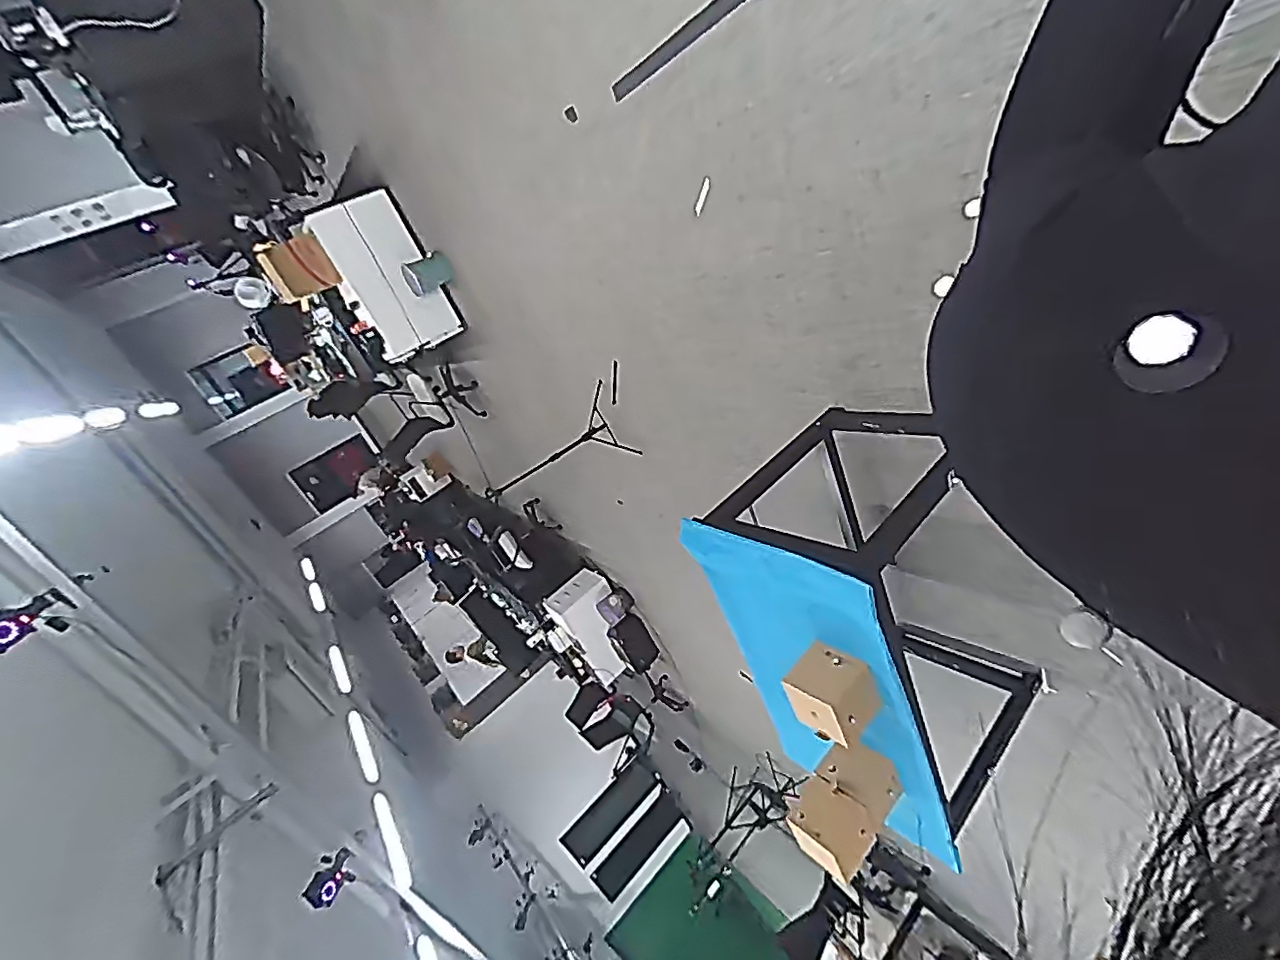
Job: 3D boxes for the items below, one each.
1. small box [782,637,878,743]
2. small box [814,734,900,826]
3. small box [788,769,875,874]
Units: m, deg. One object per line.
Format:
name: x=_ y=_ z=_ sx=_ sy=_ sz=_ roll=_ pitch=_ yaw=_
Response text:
small box: x=0.528 y=0.572 z=1.492 sx=0.168 sy=0.176 sz=0.179 roll=12 pitch=134 yaw=54
small box: x=0.686 y=0.936 z=1.705 sx=0.179 sy=0.176 sz=0.168 roll=13 pitch=136 yaw=51
small box: x=0.571 y=1.028 z=1.624 sx=0.168 sy=0.176 sz=0.179 roll=14 pitch=135 yaw=54
